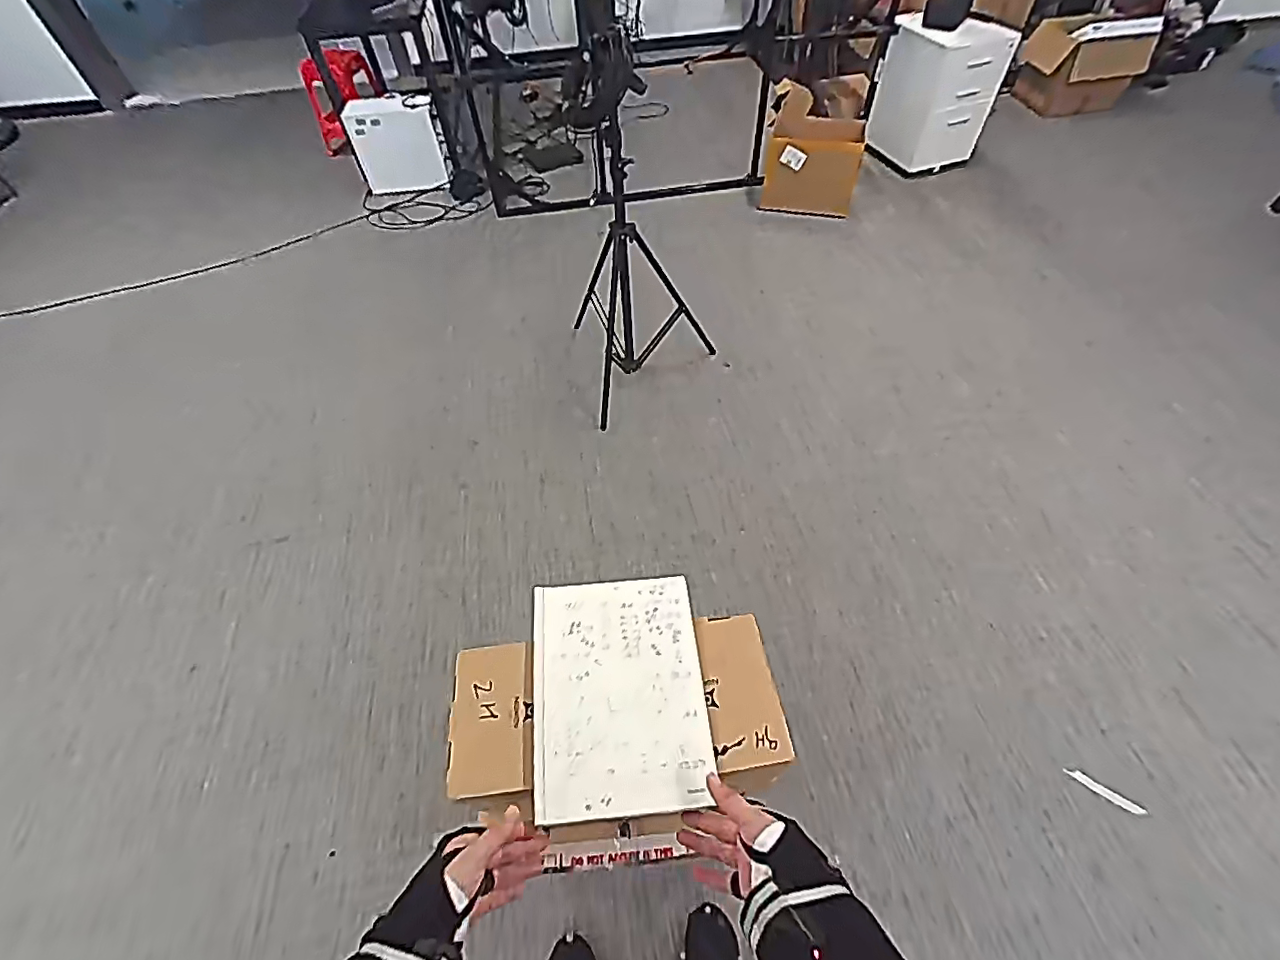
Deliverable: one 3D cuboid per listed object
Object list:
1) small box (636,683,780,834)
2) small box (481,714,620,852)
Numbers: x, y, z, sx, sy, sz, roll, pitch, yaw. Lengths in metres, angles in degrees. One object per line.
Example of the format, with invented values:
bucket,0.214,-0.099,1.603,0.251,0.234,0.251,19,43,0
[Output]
small box,0.092,0.429,0.830,0.179,0.176,0.168,-10,54,-5
small box,-0.121,0.459,0.816,0.179,0.176,0.168,-4,55,2
